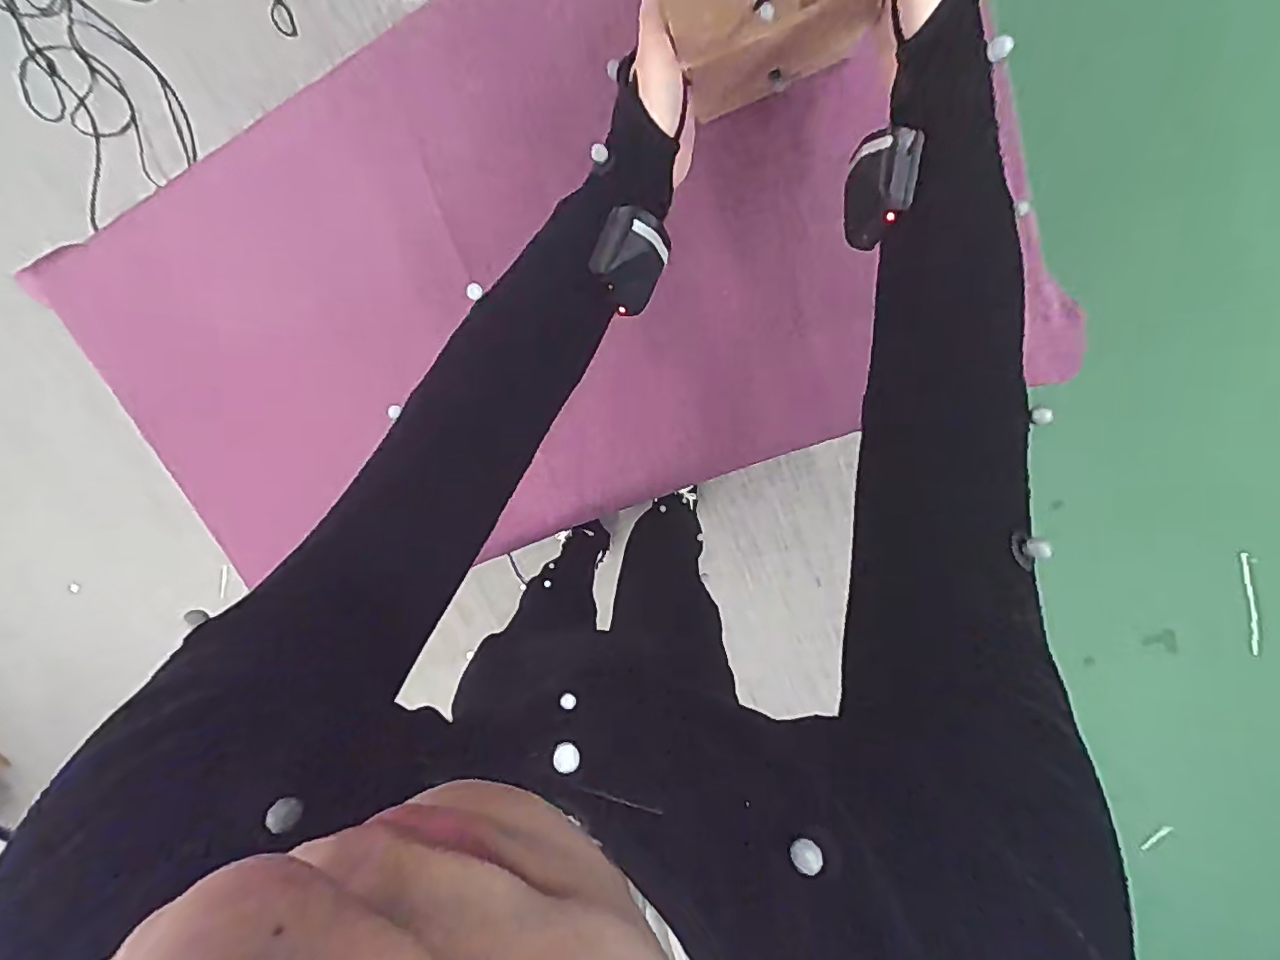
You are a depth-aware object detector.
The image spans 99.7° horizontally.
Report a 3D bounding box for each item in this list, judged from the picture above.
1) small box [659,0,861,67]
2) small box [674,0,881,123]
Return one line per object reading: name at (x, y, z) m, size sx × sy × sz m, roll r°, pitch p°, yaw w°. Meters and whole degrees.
small box at (0.073, -0.406, 0.330) m, size 0.168 × 0.176 × 0.179 m, roll -14°, pitch 107°, yaw 13°
small box at (0.100, -0.461, 0.480) m, size 0.168 × 0.176 × 0.179 m, roll -15°, pitch 107°, yaw 15°
